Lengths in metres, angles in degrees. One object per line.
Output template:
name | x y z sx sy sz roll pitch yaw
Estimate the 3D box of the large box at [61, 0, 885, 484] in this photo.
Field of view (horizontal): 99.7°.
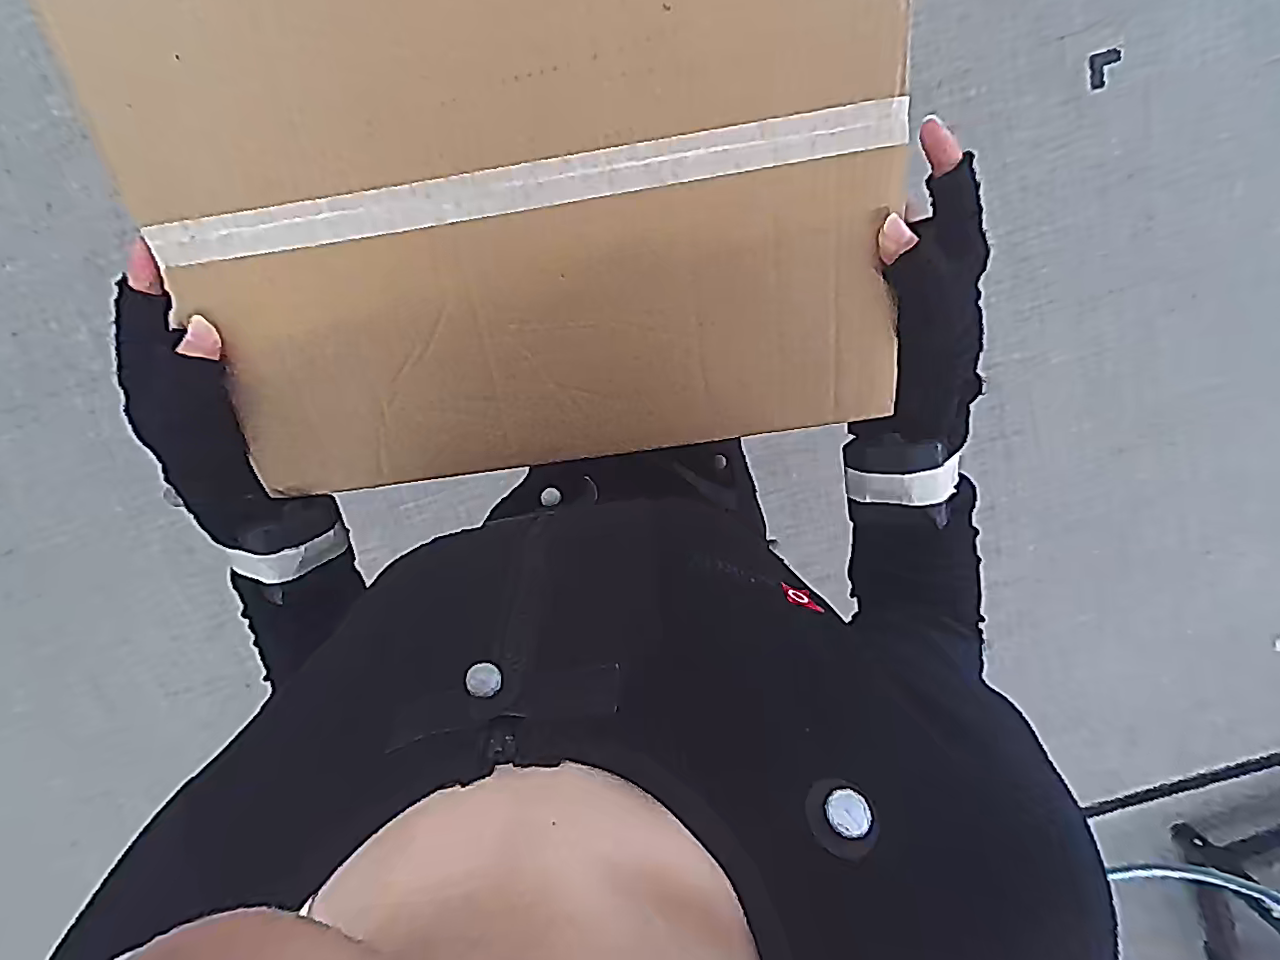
large box | -0.068 -0.223 0.431 0.408 0.320 0.320 -8 113 3
